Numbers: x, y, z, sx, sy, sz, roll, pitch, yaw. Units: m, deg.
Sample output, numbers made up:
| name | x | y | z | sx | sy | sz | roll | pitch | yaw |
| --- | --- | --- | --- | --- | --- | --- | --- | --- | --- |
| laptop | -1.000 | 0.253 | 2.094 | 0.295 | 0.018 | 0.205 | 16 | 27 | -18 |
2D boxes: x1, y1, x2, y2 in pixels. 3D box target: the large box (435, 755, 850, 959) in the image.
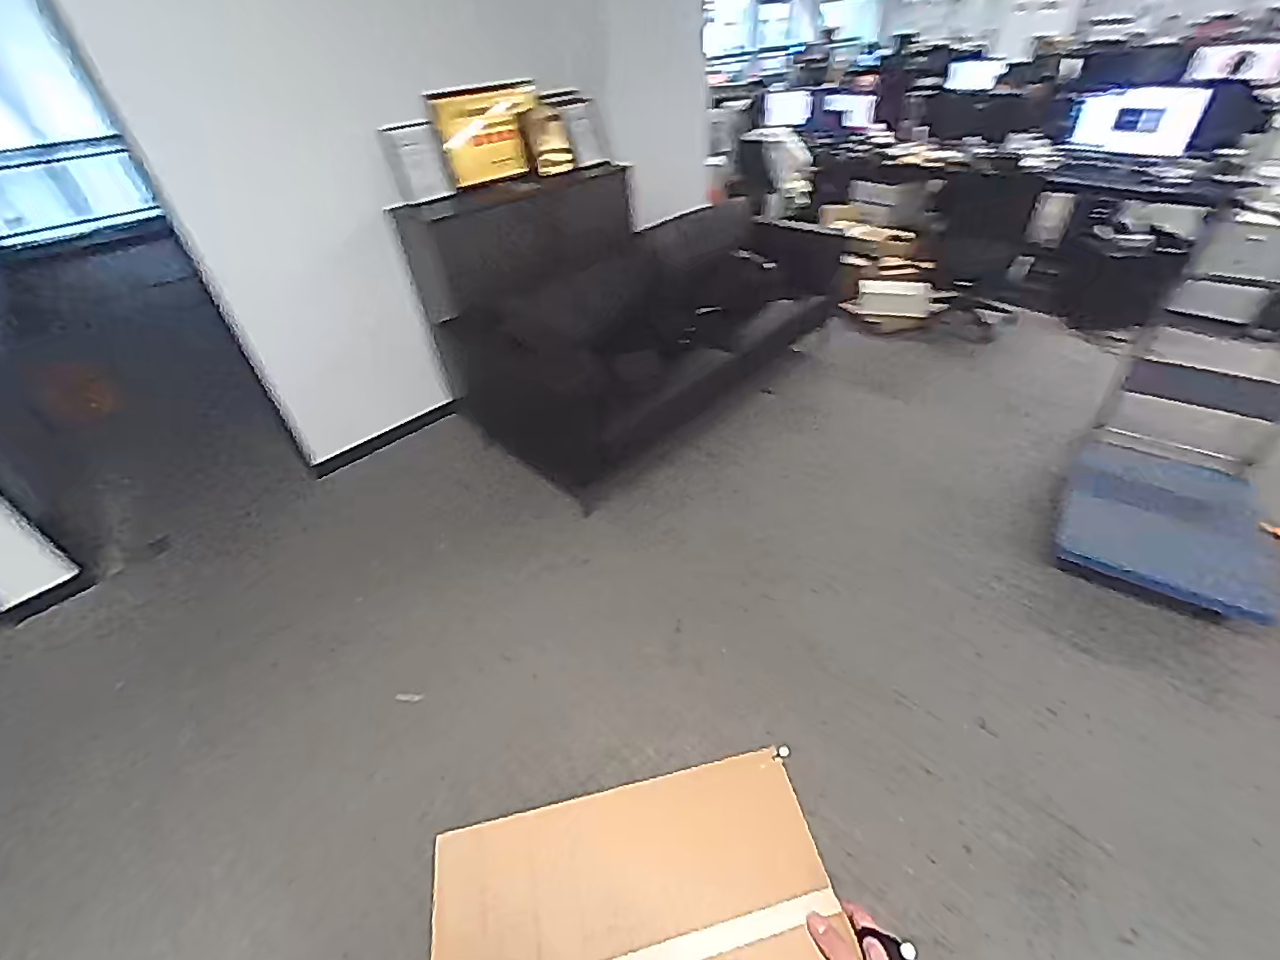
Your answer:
| name | x | y | z | sx | sy | sz | roll | pitch | yaw |
| --- | --- | --- | --- | --- | --- | --- | --- | --- | --- |
| large box | 0.003 | 0.589 | 0.631 | 0.408 | 0.320 | 0.320 | -10 | 45 | -11 |
